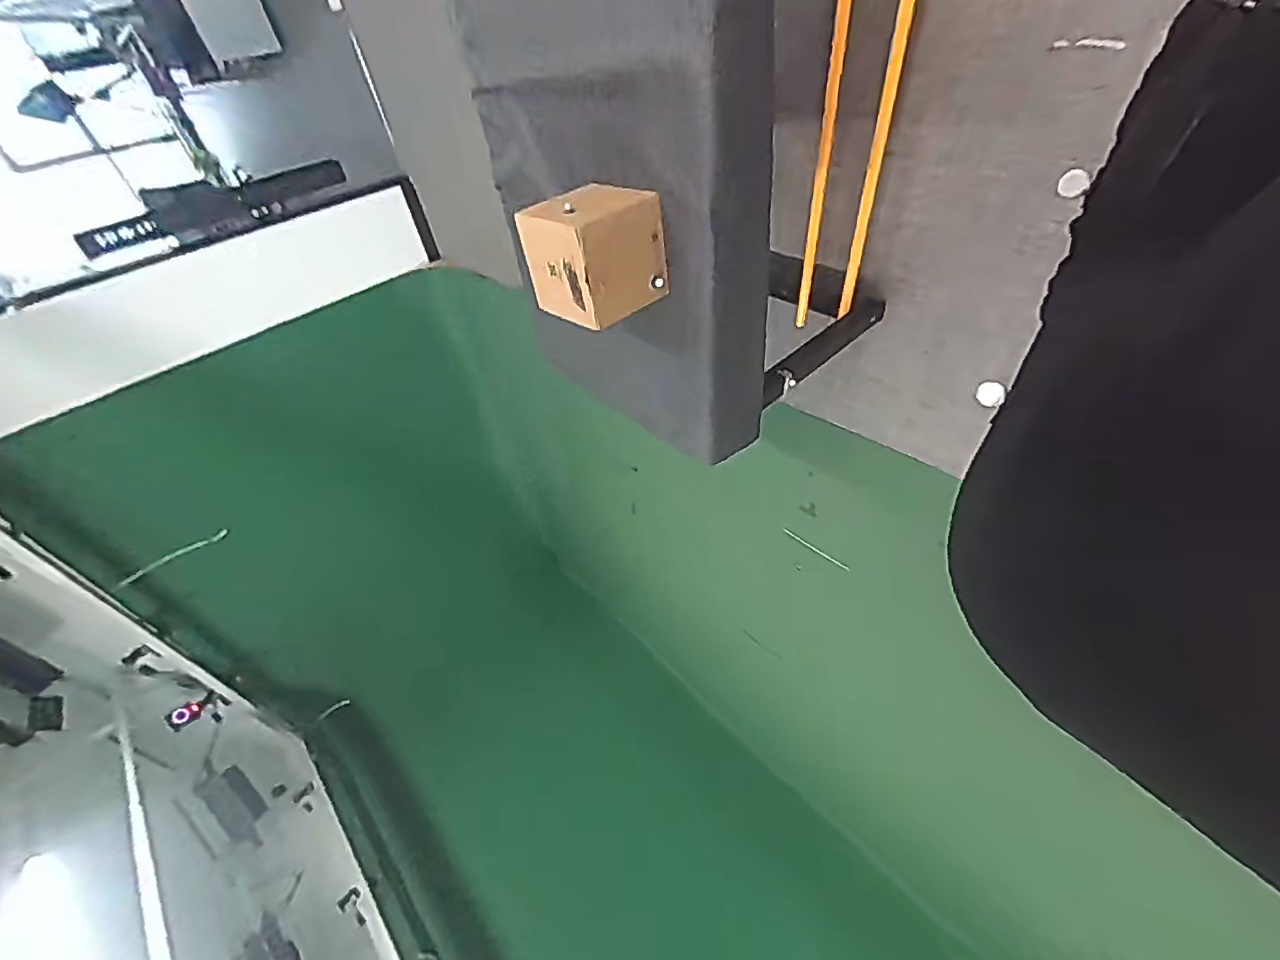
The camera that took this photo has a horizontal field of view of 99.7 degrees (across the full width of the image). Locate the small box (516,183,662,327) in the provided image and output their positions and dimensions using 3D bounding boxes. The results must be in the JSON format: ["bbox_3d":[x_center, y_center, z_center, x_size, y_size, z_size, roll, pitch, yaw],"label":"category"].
[{"bbox_3d":[-0.075,-0.387,0.916,0.179,0.176,0.168,33,147,38],"label":"small box"}]
